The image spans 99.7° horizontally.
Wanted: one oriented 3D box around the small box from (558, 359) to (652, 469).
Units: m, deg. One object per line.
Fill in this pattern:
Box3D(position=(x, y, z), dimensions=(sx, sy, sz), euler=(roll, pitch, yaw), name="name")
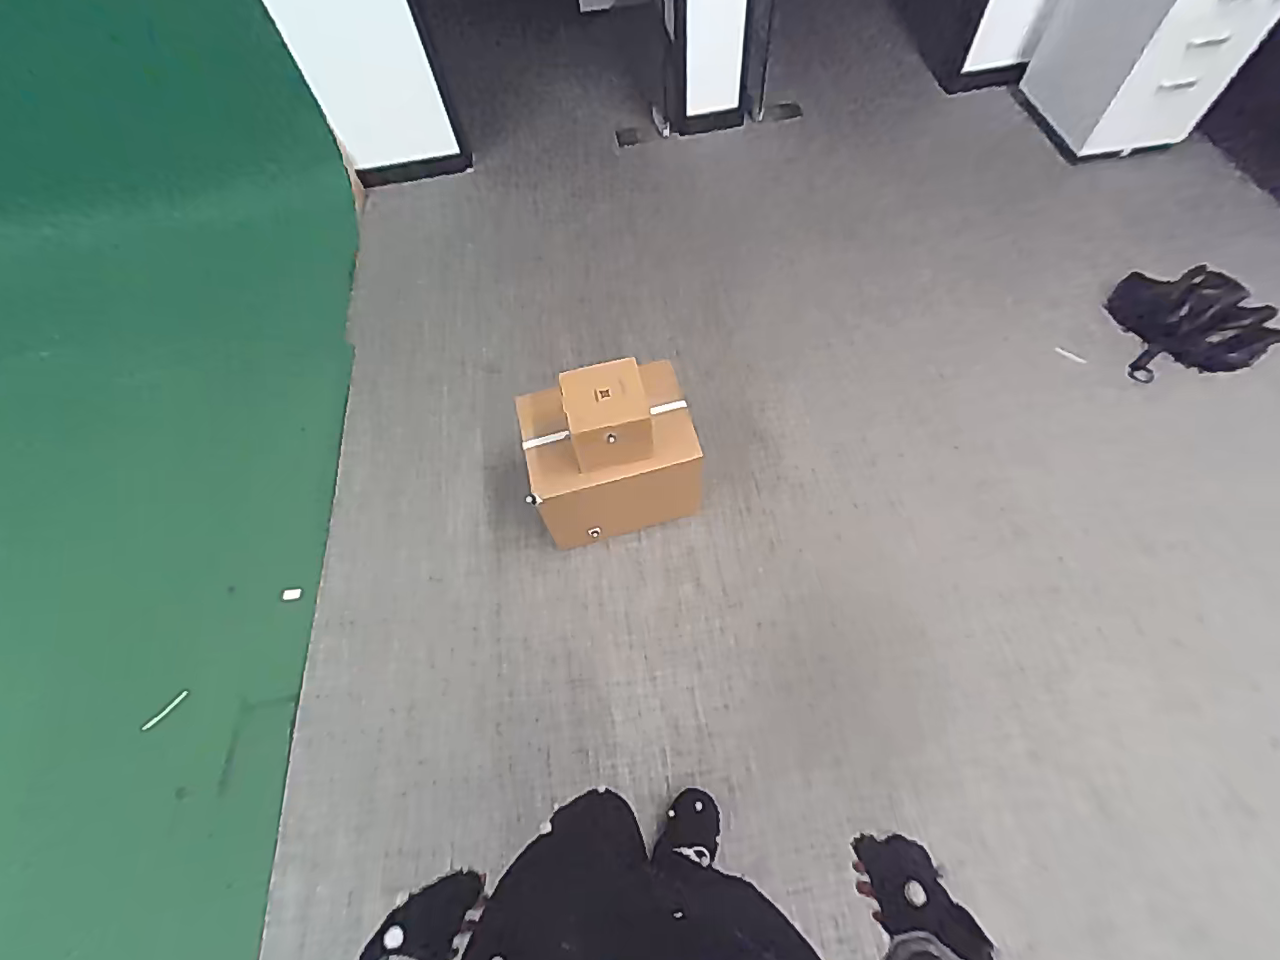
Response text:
Box3D(position=(-0.075, -0.143, 1.225), dimensions=(0.179, 0.176, 0.168), euler=(-13, 63, -4), name="small box")
